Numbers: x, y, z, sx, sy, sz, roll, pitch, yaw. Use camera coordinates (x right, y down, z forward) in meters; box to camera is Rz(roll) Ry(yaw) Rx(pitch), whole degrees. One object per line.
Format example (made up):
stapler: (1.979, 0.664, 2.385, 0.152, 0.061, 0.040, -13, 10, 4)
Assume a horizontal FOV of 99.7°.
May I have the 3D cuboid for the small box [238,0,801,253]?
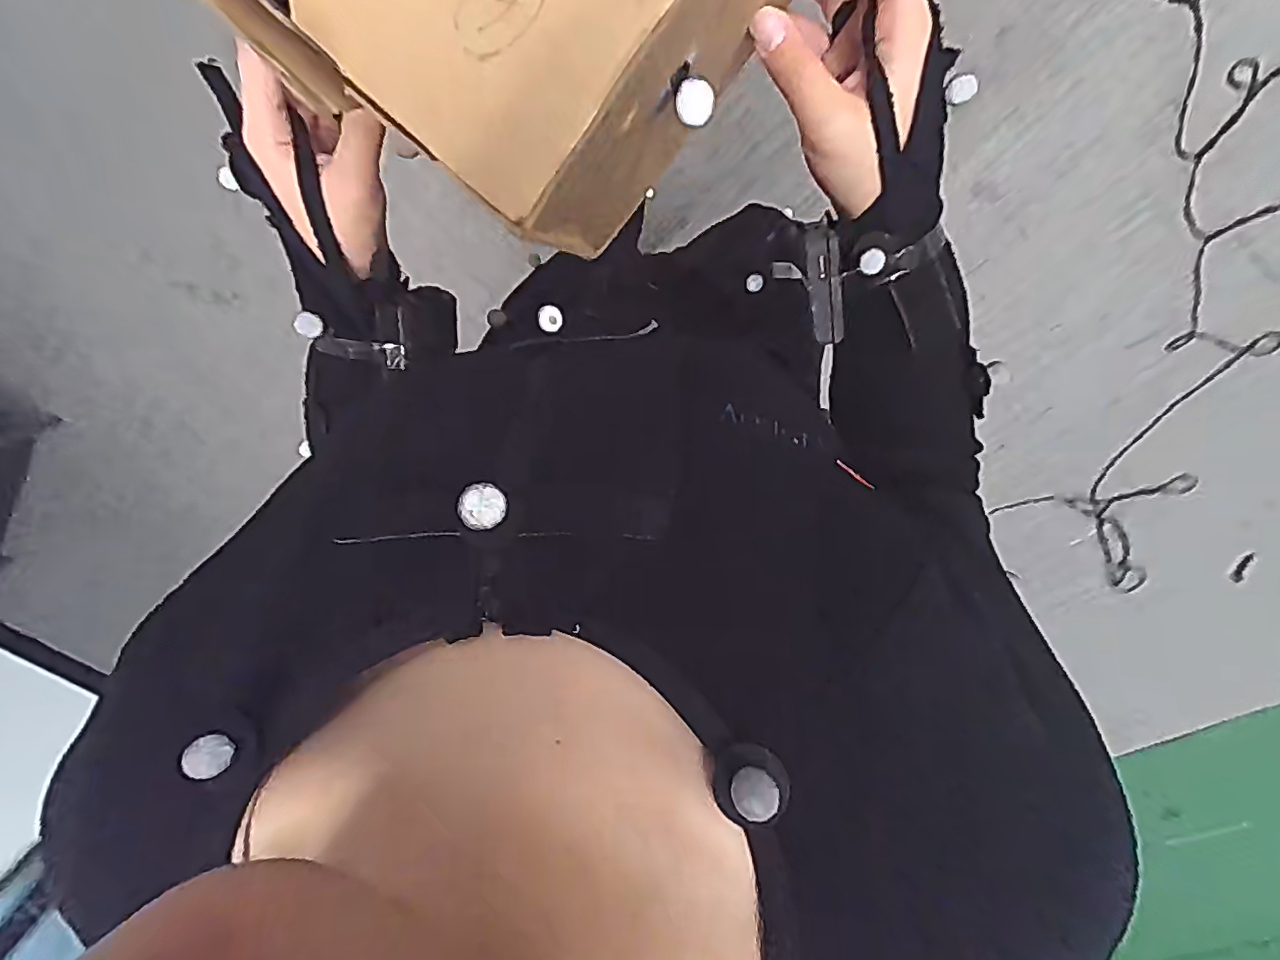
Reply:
small box: (-0.033, -0.210, 0.207, 0.168, 0.176, 0.179, 40, 108, -10)
